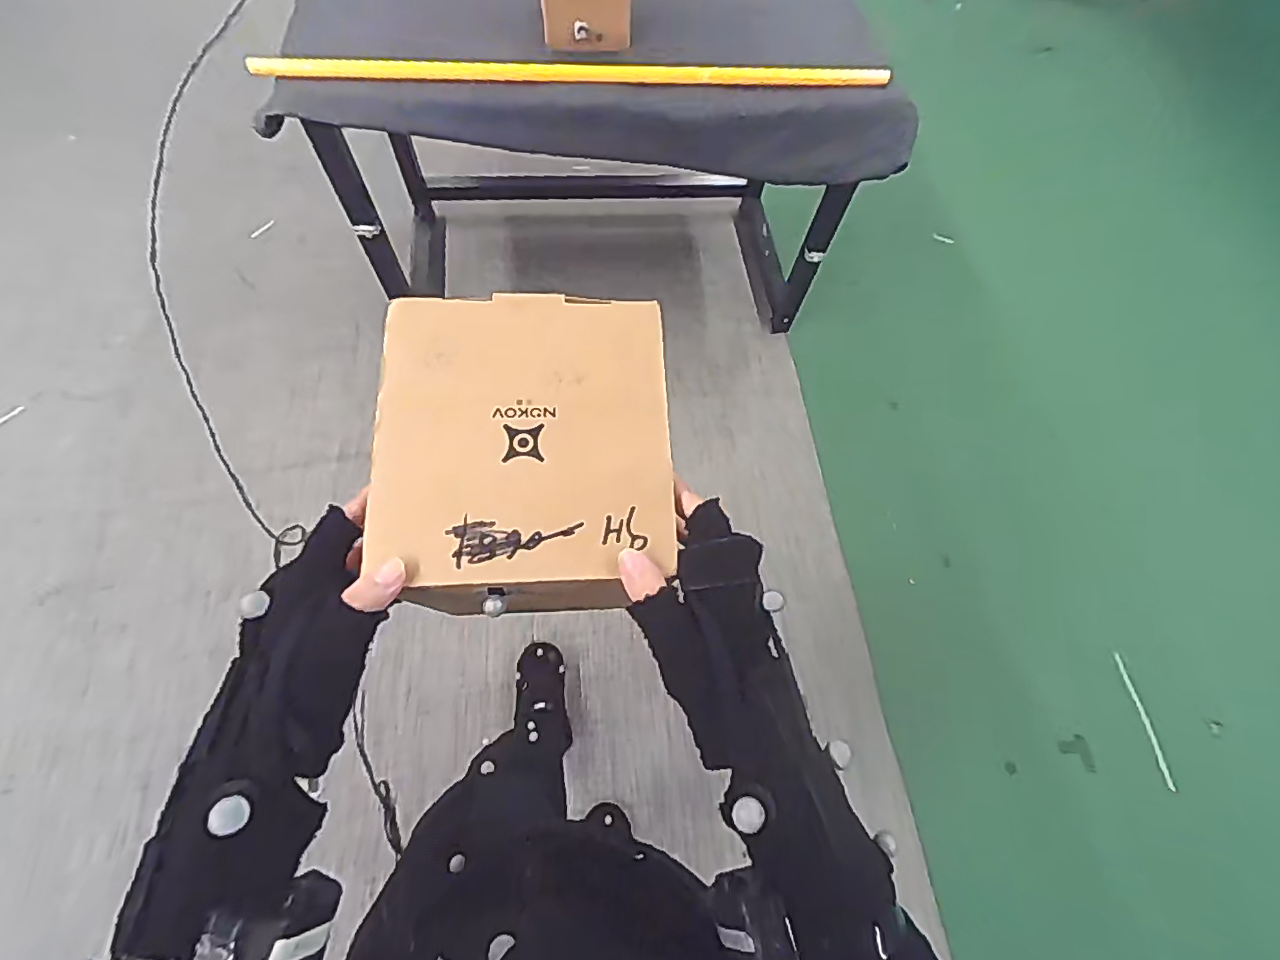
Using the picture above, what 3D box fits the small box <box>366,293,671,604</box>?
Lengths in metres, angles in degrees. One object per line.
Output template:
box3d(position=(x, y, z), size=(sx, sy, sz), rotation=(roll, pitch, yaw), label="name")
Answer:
box3d(position=(-0.073, -0.010, 0.393), size=(0.168, 0.176, 0.179), rotation=(-1, 71, -4), label="small box")

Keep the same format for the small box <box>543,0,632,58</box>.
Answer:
box3d(position=(-0.107, -0.964, 1.051), size=(0.168, 0.176, 0.179), rotation=(-6, 67, -6), label="small box")
